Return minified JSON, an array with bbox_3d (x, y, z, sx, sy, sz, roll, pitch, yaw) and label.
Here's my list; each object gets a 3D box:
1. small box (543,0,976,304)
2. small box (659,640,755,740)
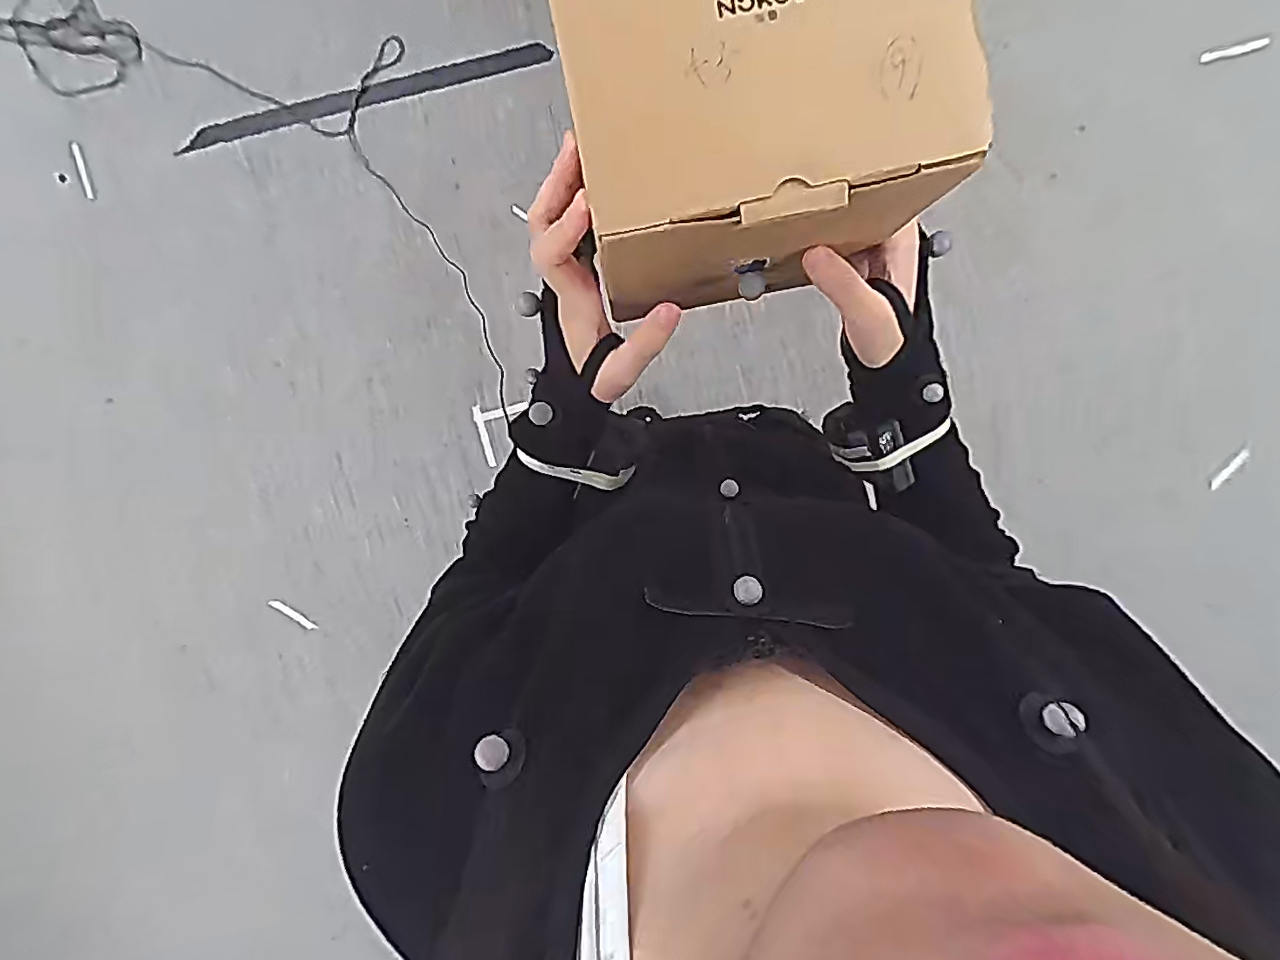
[{"bbox_3d":[0.044,-0.207,0.297,0.168,0.176,0.179,-12,95,1],"label":"small box"},{"bbox_3d":[0.141,0.462,1.164,0.179,0.176,0.168,-12,96,6],"label":"small box"}]
